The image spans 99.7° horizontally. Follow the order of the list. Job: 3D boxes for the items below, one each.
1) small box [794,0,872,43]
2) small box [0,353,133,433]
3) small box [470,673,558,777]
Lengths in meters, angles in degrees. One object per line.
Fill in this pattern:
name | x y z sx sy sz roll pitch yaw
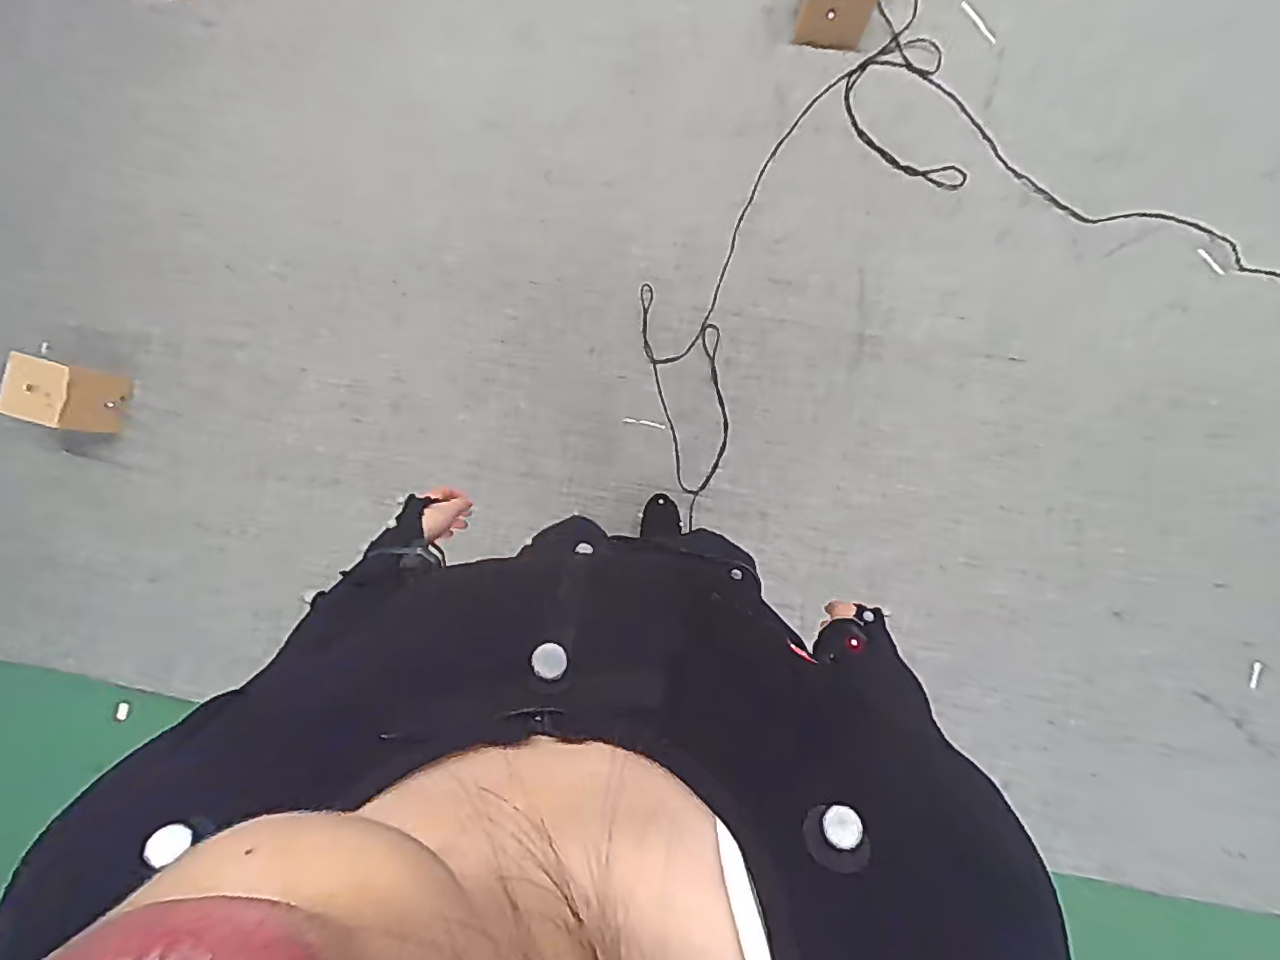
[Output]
small box | 0.503 -1.265 1.382 0.179 0.176 0.168 7 91 4
small box | -1.559 -0.229 1.472 0.179 0.176 0.168 15 91 2
small box | -0.311 0.610 1.364 0.168 0.176 0.179 7 89 2
